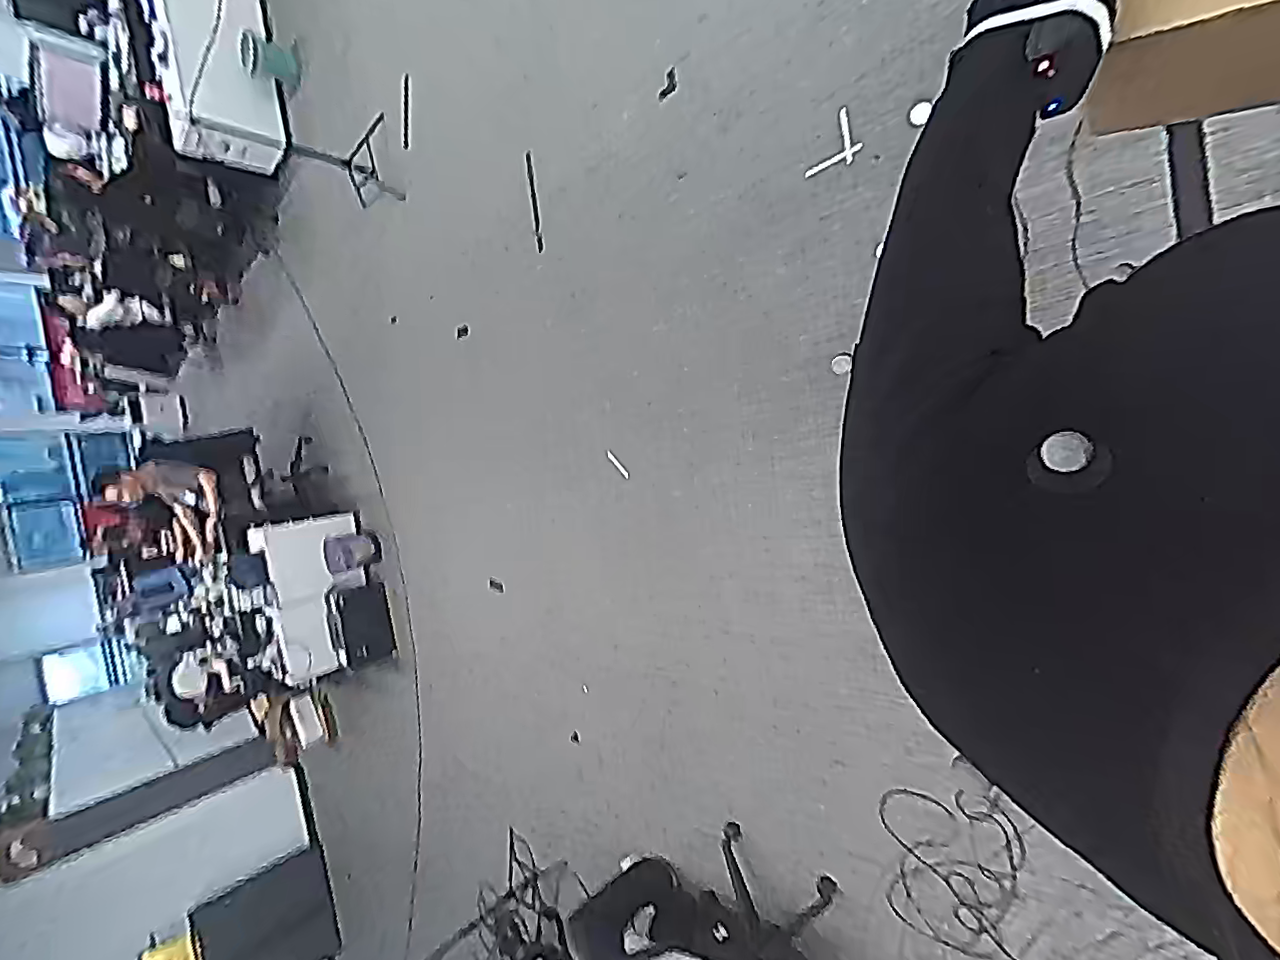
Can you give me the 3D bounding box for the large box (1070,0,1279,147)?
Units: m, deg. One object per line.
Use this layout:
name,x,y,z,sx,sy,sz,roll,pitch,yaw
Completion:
large box,0.578,-0.480,0.372,0.408,0.320,0.320,11,111,39
